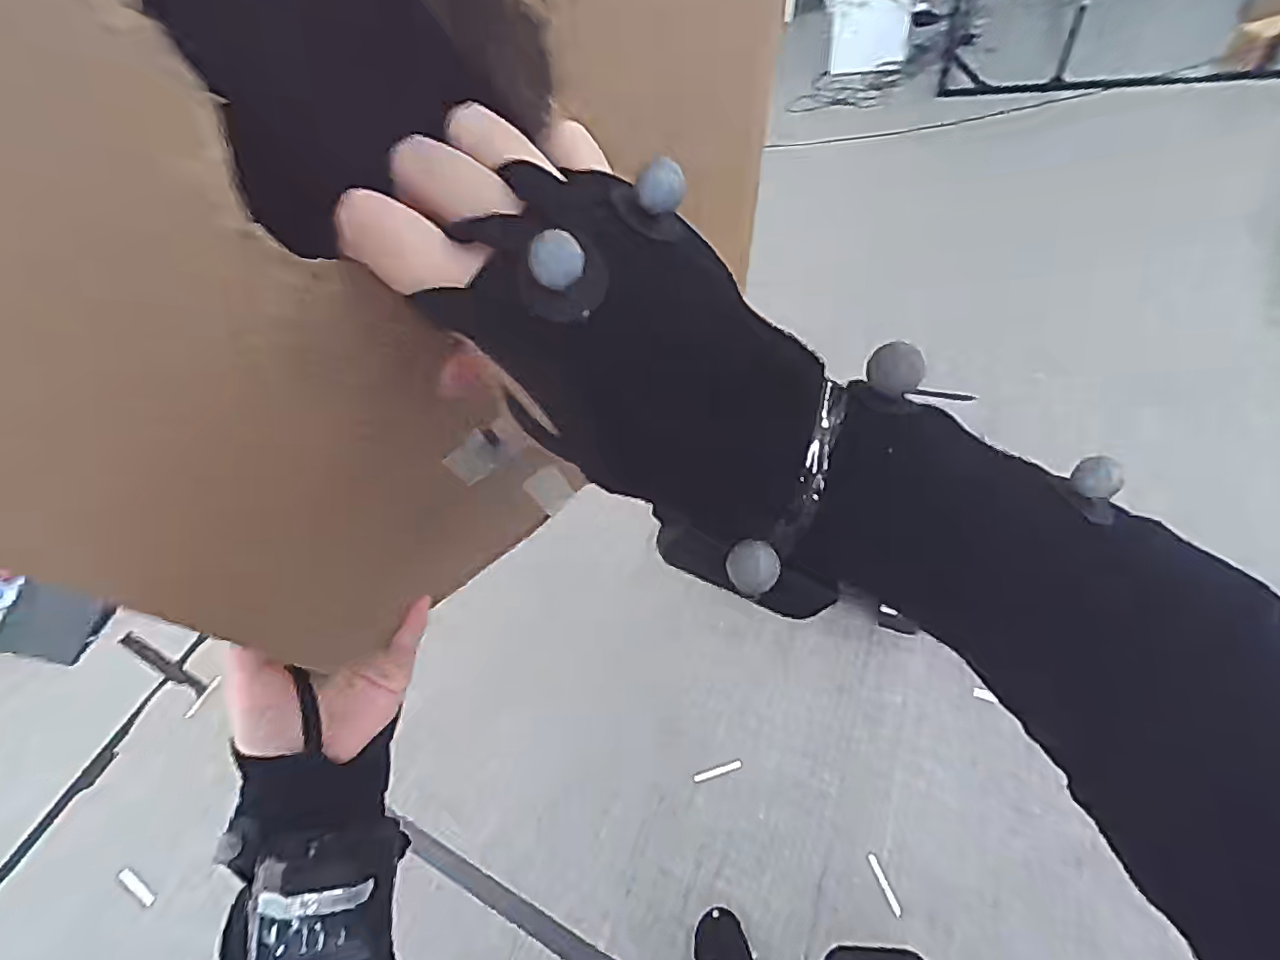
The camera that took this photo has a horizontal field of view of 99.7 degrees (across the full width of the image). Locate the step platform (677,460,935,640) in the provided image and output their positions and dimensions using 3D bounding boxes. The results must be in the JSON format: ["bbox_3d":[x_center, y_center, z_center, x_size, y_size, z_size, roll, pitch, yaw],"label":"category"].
[{"bbox_3d":[0.448,0.171,1.536,0.684,0.204,0.286,18,60,27],"label":"step platform"}]
